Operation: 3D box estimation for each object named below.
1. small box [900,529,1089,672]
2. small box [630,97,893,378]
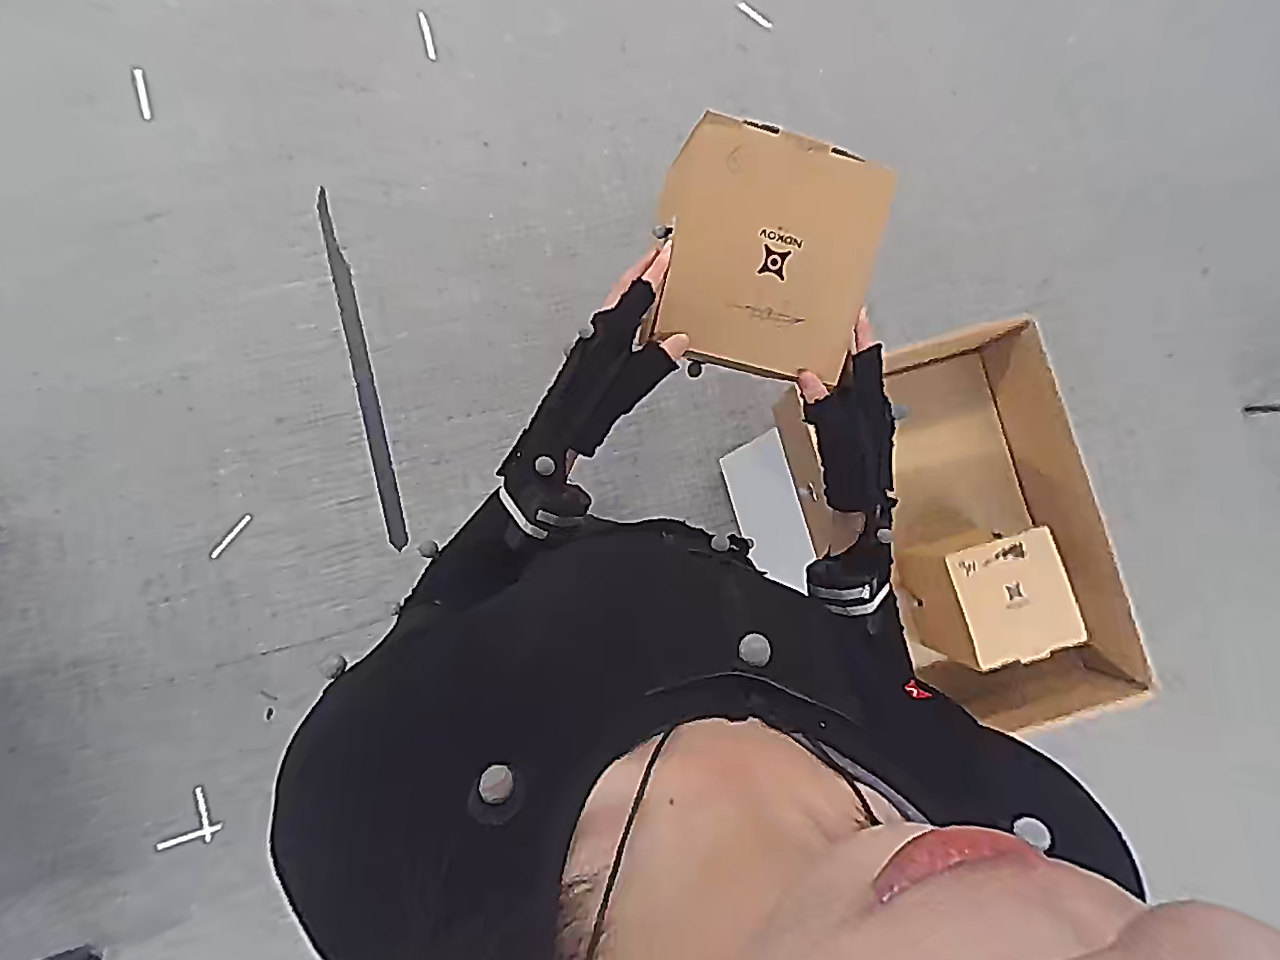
[{"bbox_3d":[0.554,0.182,0.870,0.168,0.176,0.179,-15,85,-1],"label":"small box"},{"bbox_3d":[0.092,-0.201,0.502,0.168,0.176,0.179,11,101,-10],"label":"small box"}]
